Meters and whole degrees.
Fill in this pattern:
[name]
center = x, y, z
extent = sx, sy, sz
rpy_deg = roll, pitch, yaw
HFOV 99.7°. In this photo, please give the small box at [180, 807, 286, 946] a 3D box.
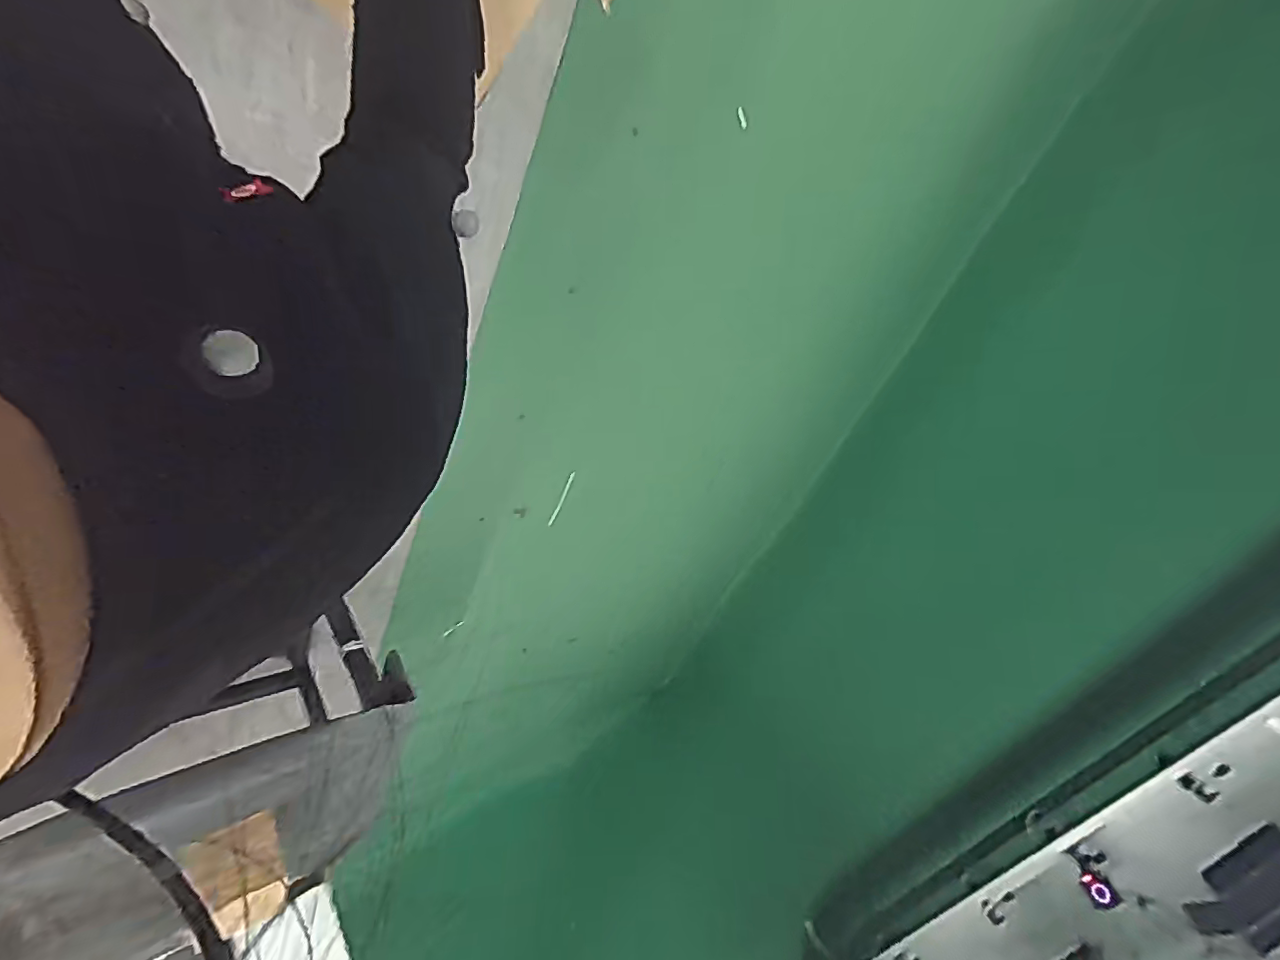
[small box]
center = -0.927, 0.894, 1.233
extent = 0.168, 0.176, 0.179
rpy_deg = -10, 135, -44
